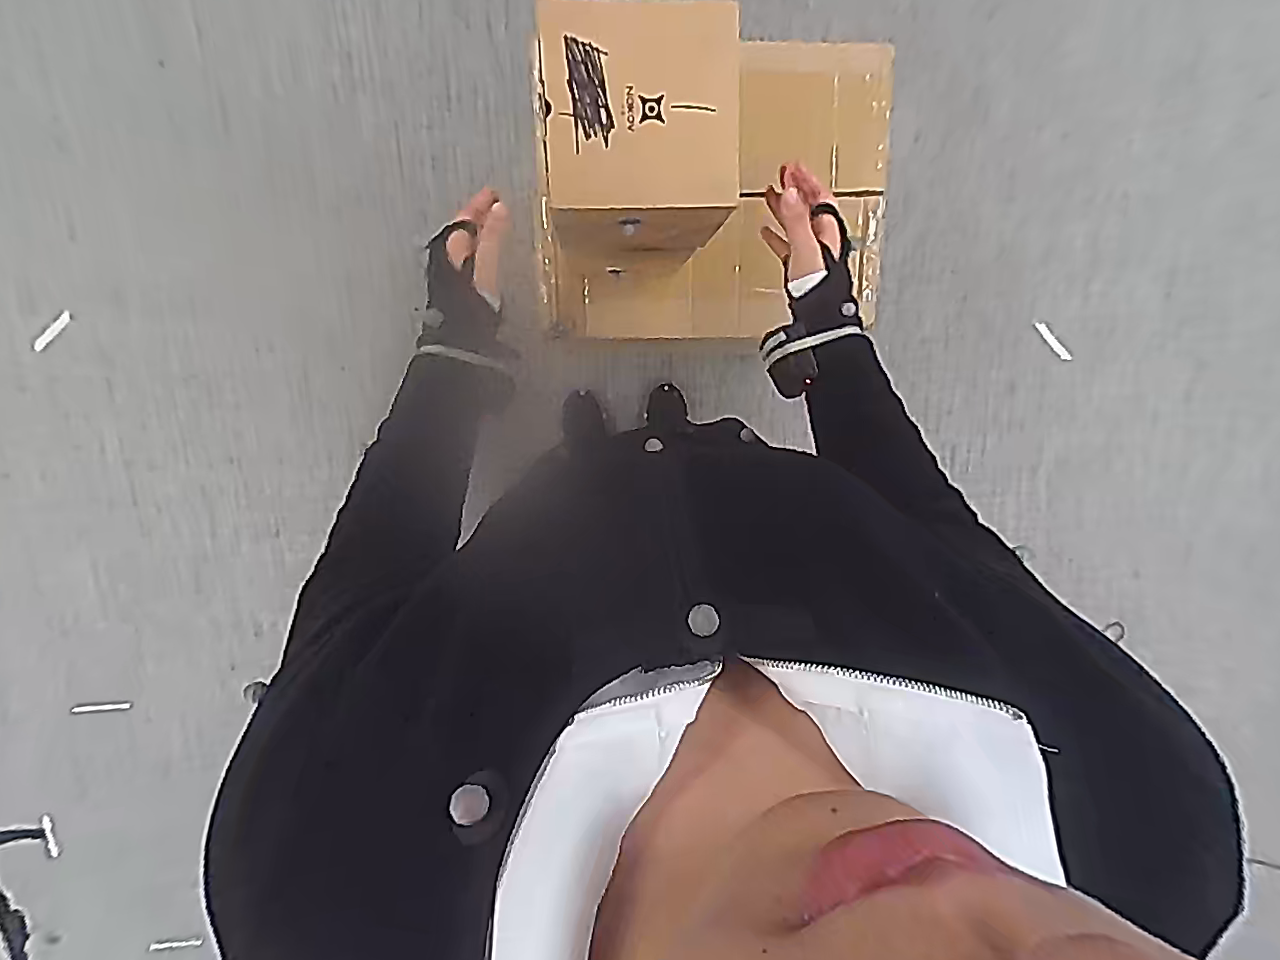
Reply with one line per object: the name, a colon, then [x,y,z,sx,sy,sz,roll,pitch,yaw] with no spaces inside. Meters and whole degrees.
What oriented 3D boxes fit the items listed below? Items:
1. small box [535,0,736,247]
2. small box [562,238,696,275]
small box: [-0.006,-0.346,0.556,0.179,0.176,0.168,-3,101,-4]
small box: [-0.020,-0.378,0.717,0.168,0.176,0.179,-2,102,-3]
